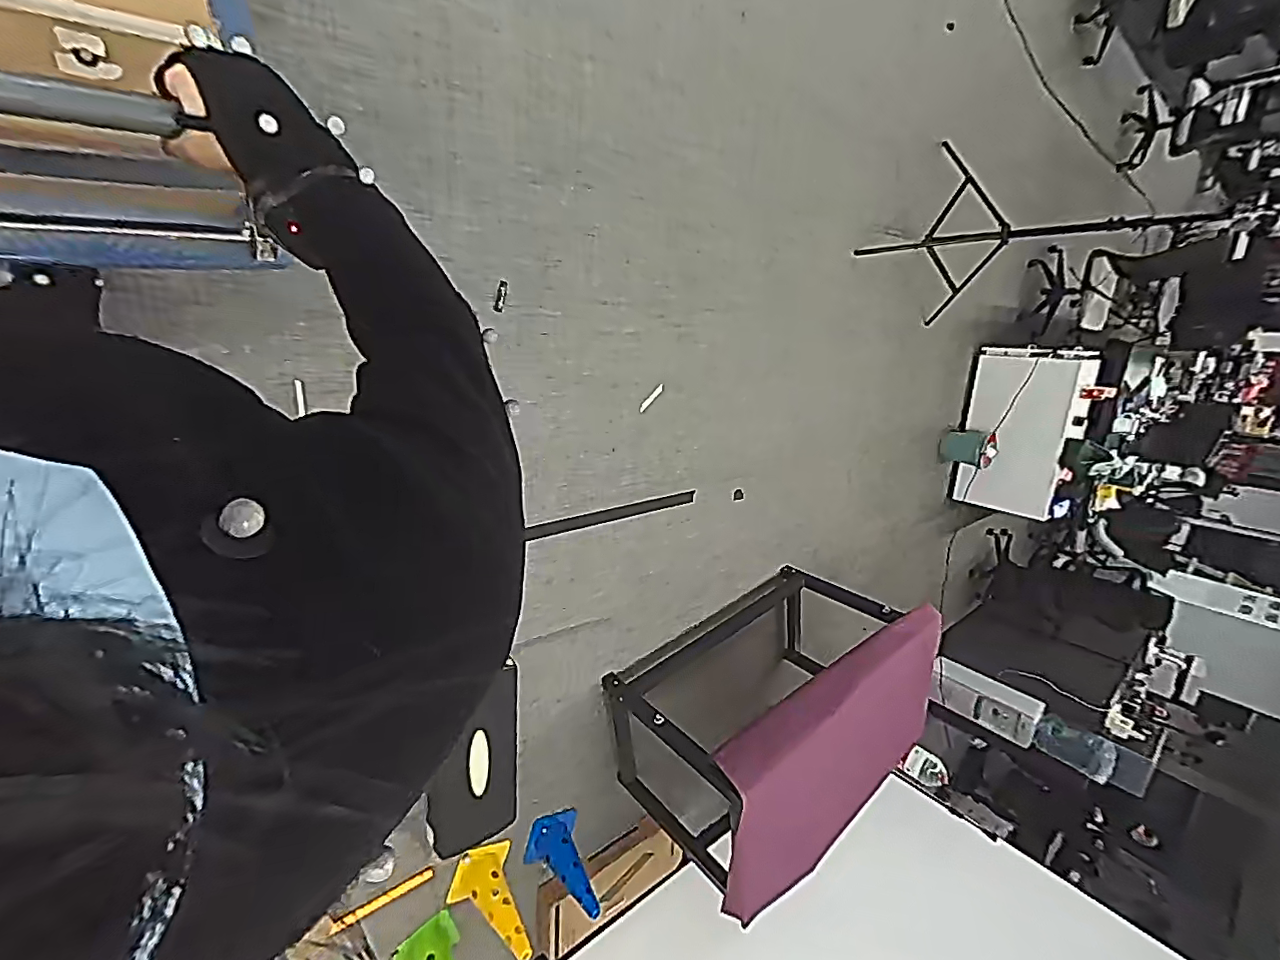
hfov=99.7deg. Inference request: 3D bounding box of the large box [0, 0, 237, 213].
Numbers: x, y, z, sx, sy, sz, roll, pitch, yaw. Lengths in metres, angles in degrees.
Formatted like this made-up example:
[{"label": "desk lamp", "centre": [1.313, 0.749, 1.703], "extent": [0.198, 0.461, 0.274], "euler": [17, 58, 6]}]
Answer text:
[{"label": "large box", "centre": [-0.811, -0.553, 0.699], "extent": [0.408, 0.320, 0.320], "euler": [-14, 111, -38]}]
